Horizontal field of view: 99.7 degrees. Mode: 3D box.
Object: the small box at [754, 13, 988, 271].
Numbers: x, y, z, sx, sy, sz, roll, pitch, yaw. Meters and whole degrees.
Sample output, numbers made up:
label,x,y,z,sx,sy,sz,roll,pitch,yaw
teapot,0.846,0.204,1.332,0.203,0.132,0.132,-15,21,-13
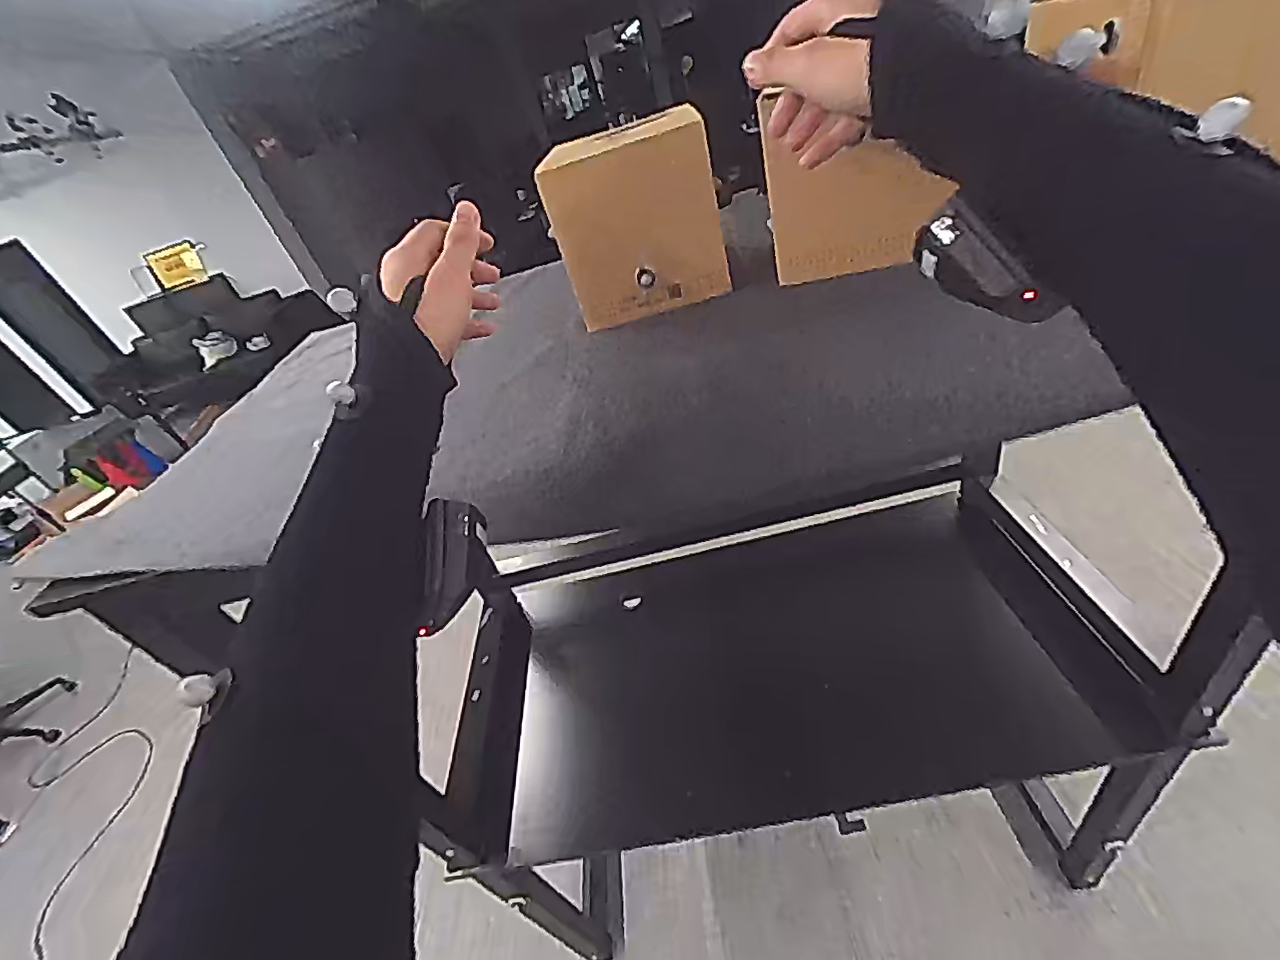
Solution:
label,x,y,z,sx,sy,sz,roll,pitch,yaw
small box,0.216,-0.322,0.531,0.179,0.176,0.168,-4,39,19
